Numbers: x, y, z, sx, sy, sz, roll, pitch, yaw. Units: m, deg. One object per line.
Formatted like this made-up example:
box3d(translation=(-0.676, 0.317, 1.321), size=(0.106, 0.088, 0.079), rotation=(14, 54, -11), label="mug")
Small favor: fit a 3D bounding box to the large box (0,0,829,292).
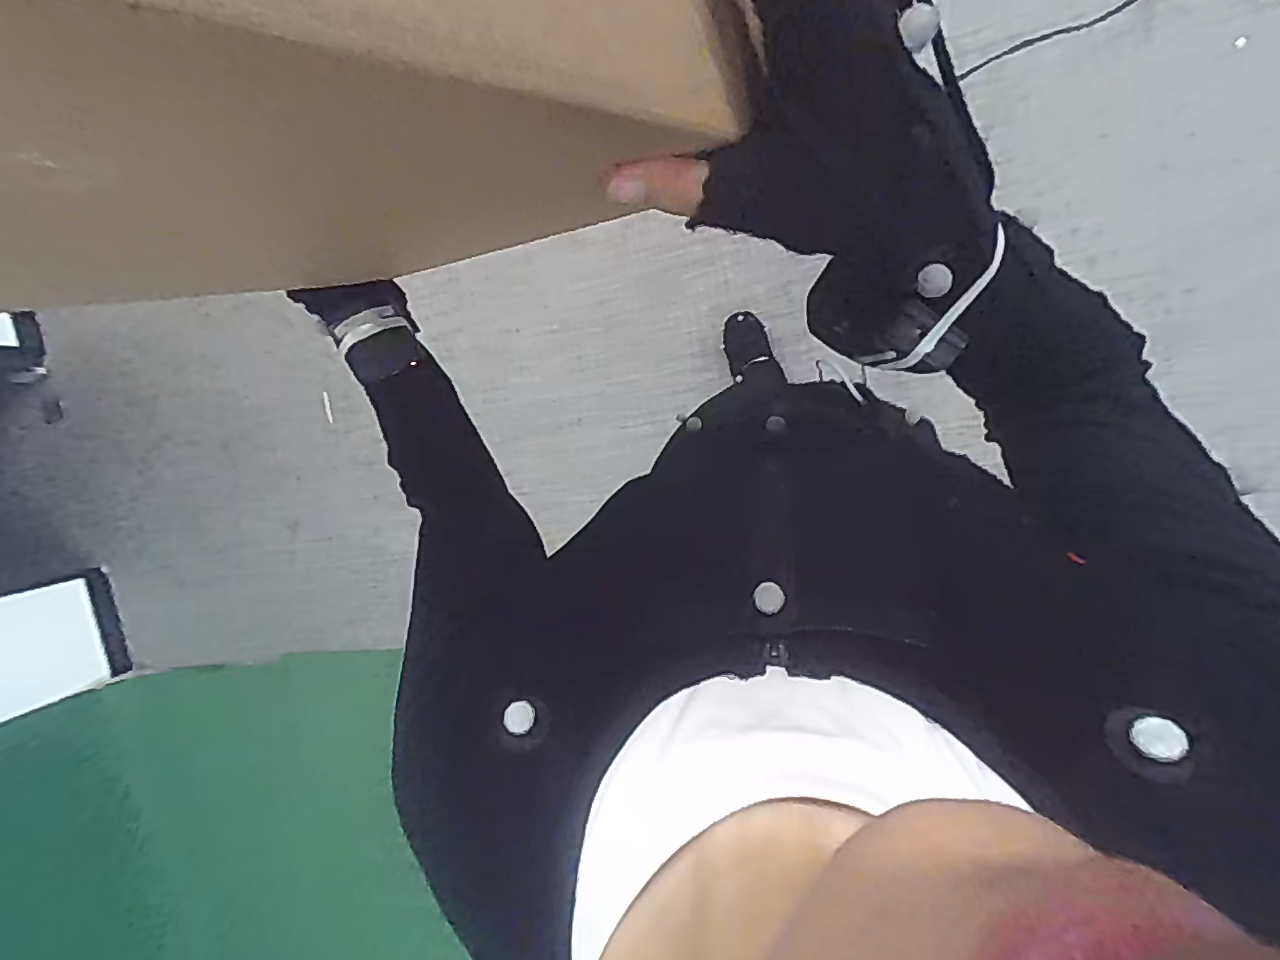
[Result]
box3d(translation=(-0.181, -0.265, 0.208), size=(0.408, 0.320, 0.320), rotation=(7, 115, 38), label="large box")
